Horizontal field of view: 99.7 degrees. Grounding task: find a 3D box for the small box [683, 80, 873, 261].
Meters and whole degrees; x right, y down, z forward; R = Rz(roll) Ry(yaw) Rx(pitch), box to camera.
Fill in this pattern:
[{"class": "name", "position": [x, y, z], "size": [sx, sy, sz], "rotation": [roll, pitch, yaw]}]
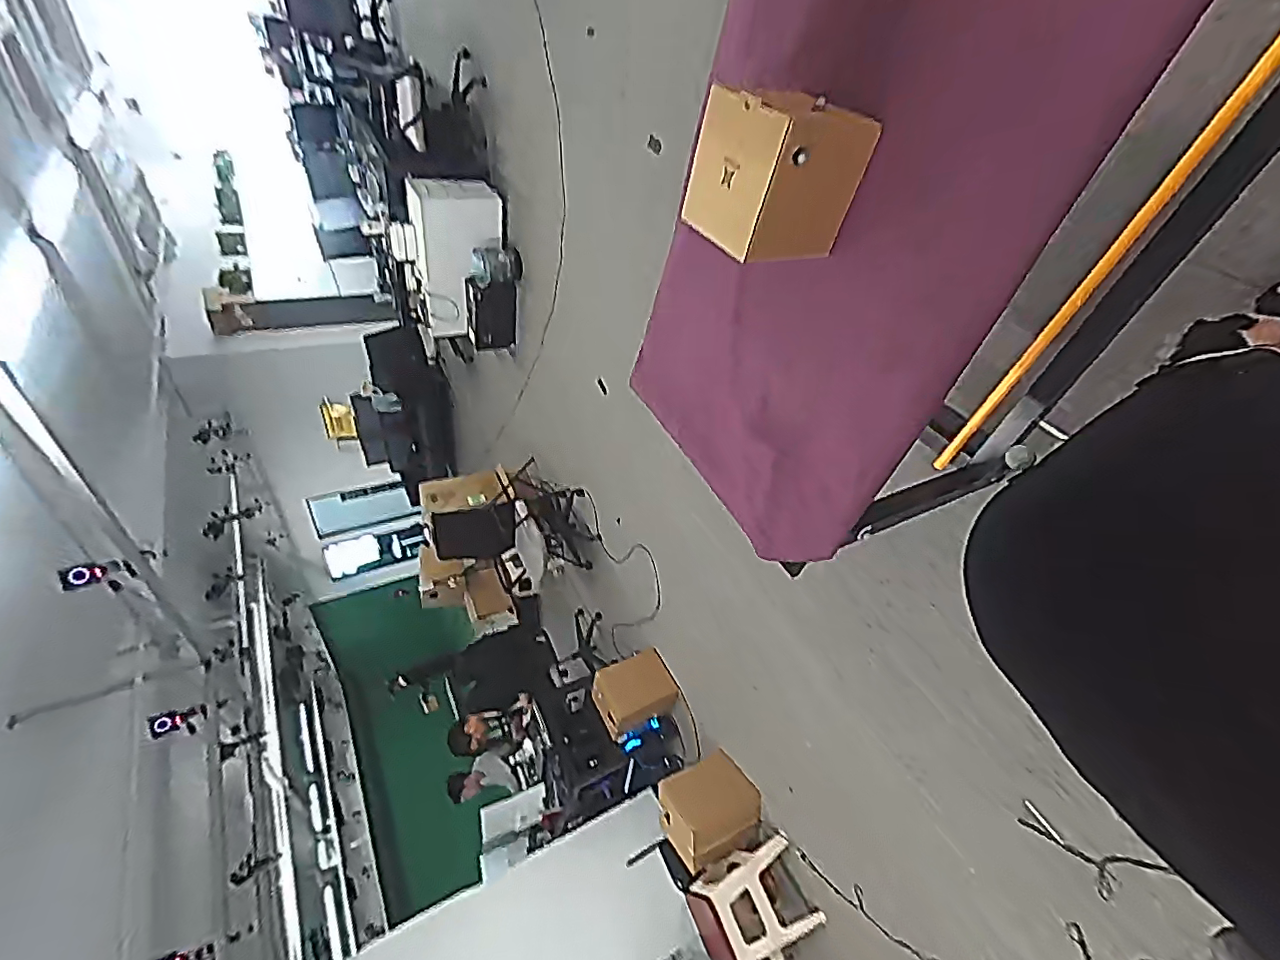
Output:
[{"class": "small box", "position": [0.187, -0.428, 0.759], "size": [0.168, 0.176, 0.179], "rotation": [54, 145, 35]}]
